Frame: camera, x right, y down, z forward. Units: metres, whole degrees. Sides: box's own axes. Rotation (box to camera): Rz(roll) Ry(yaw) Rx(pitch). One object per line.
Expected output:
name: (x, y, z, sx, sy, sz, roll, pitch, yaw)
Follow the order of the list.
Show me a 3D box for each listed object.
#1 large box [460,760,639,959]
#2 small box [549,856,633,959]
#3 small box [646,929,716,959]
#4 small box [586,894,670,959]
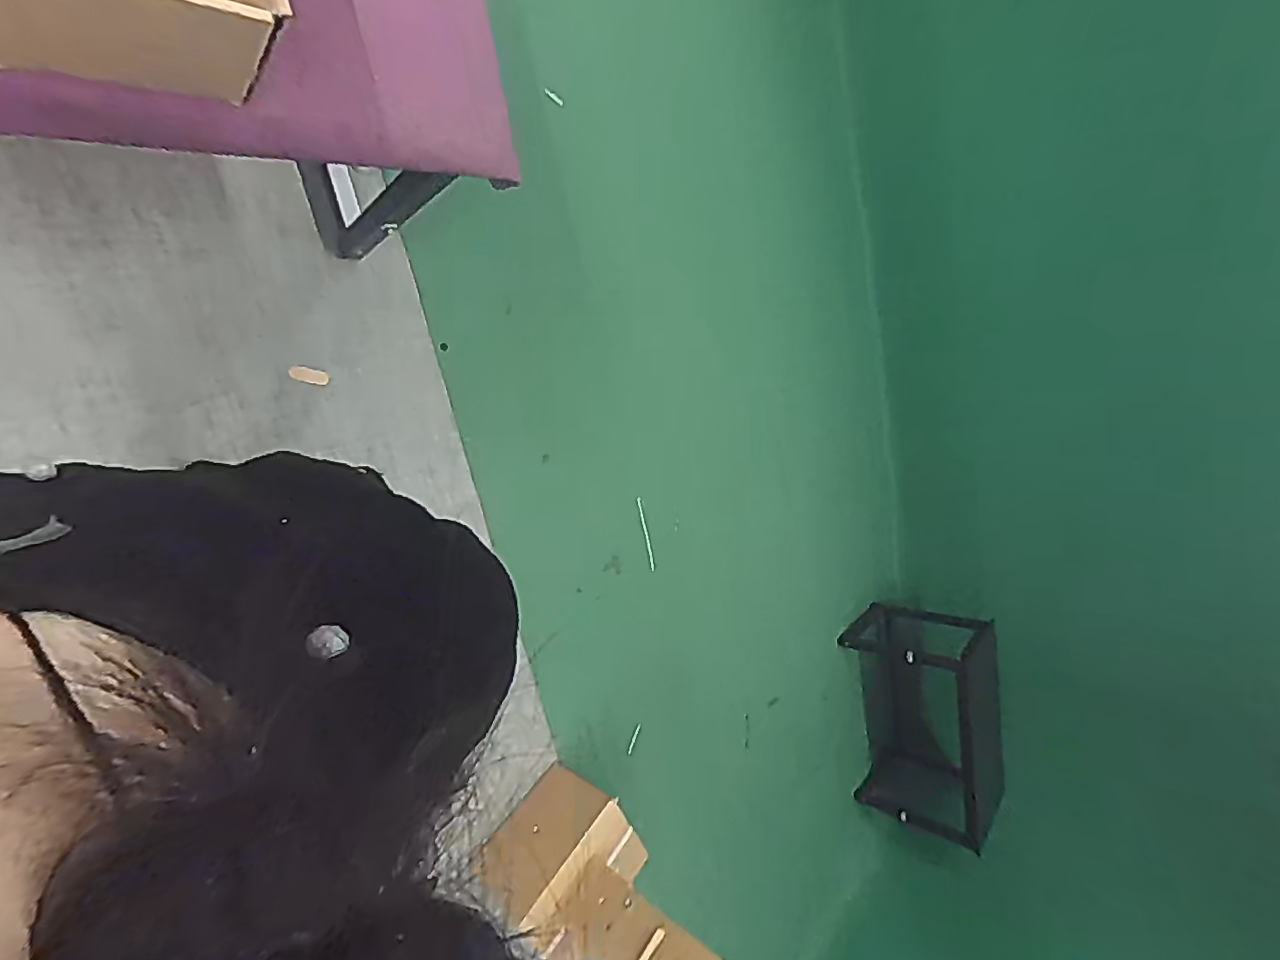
large box: (-0.281, 1.210, 1.730, 0.408, 0.320, 0.320, -41, 120, -37)
small box: (-0.125, 1.229, 1.540, 0.179, 0.176, 0.168, -36, 114, -37)
small box: (0.103, 1.243, 1.305, 0.168, 0.176, 0.179, -36, 113, -38)
small box: (-0.015, 1.240, 1.418, 0.168, 0.176, 0.179, -35, 114, -39)
